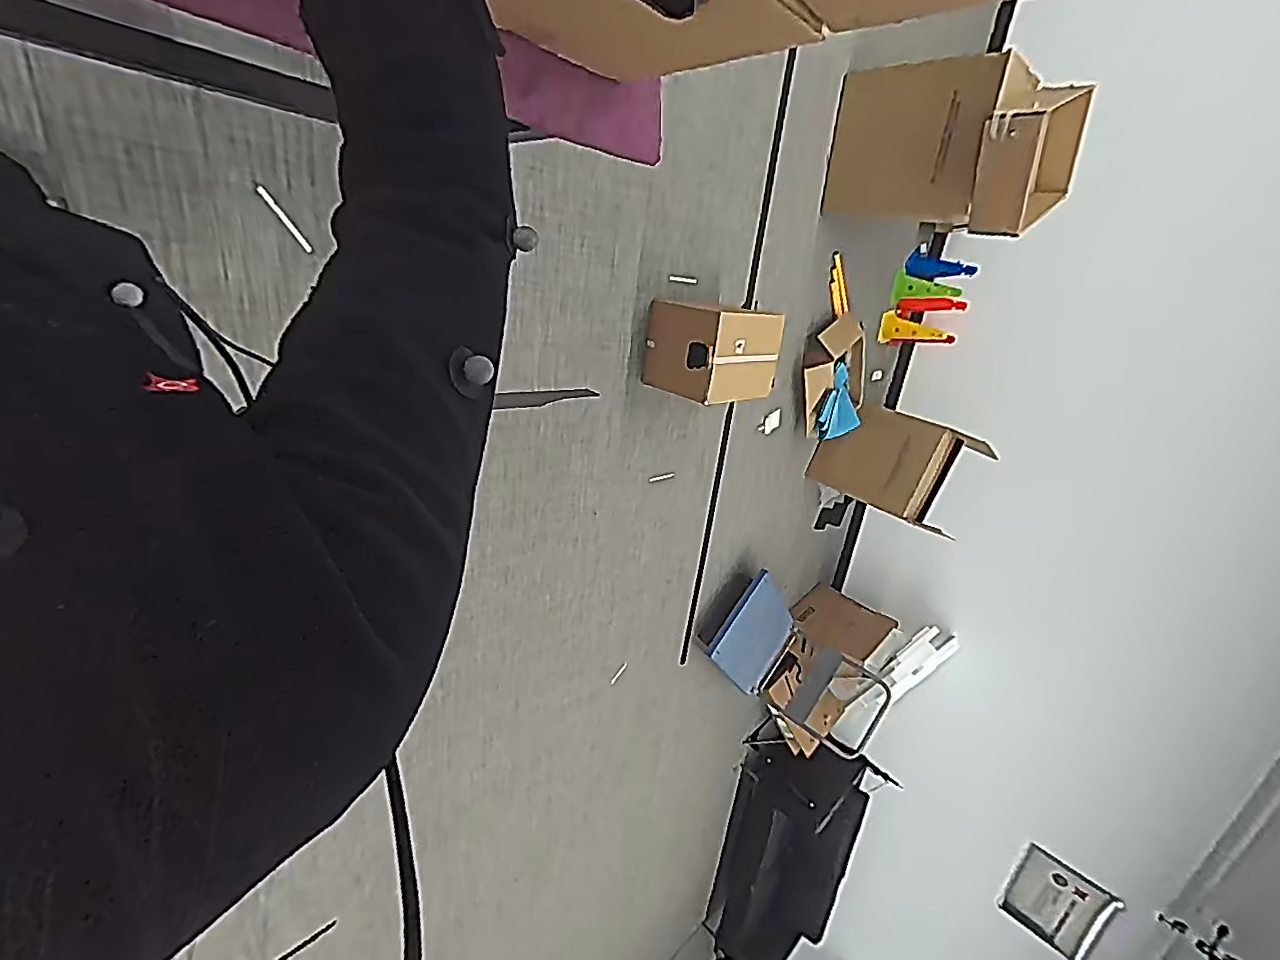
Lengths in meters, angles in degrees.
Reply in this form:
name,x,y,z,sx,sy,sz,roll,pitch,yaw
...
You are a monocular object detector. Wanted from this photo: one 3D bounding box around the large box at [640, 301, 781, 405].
name,x,y,z,sx,sy,sz,roll,pitch,yaw
large box,0.261,-0.487,2.015,0.408,0.320,0.320,-14,120,-42
